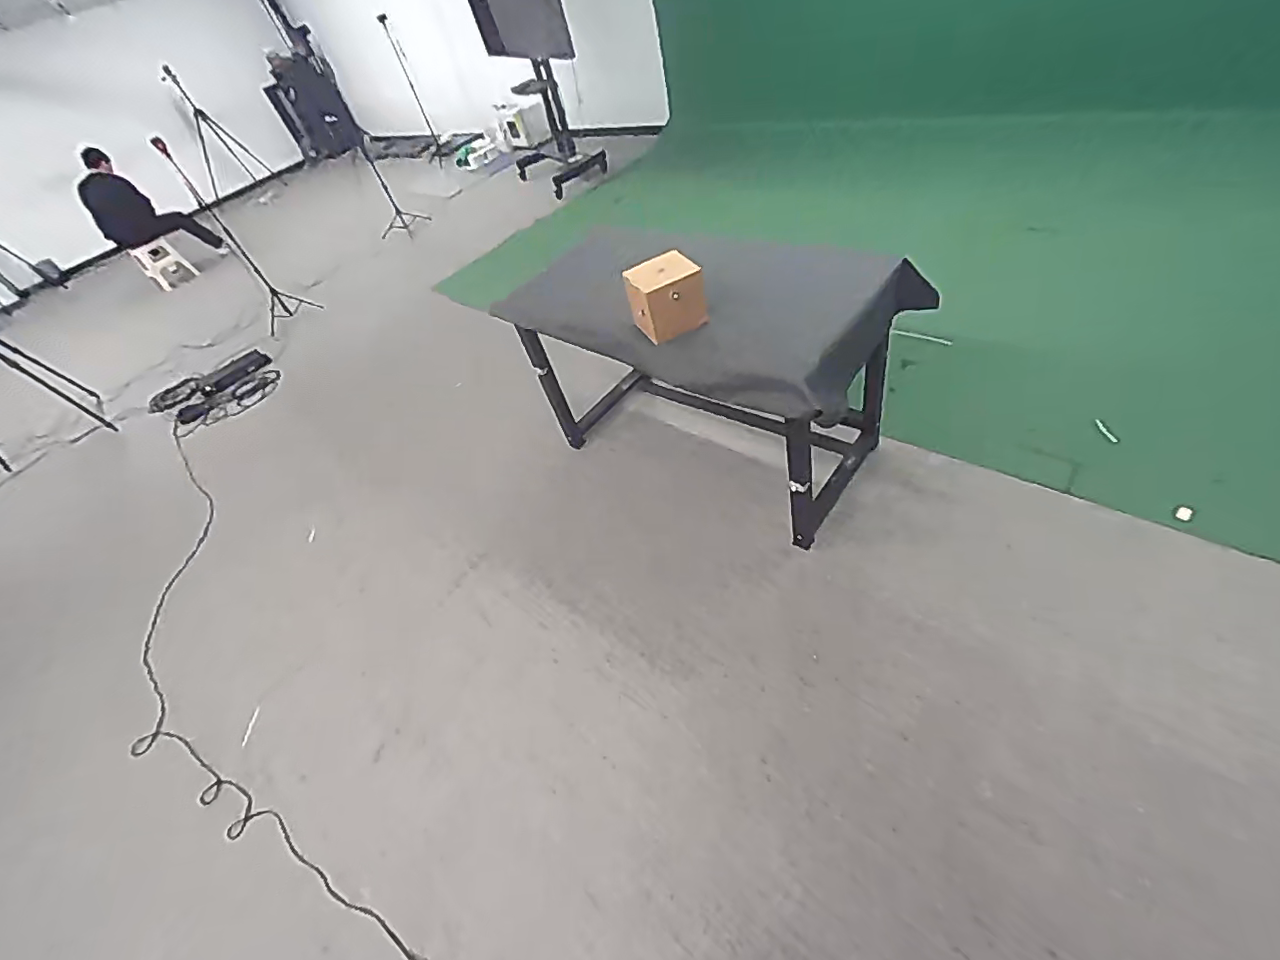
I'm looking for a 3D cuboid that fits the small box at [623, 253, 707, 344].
[{"bbox_3d":[0.075,-0.518,1.556,0.179,0.176,0.168,-26,46,-8],"label":"small box"}]
